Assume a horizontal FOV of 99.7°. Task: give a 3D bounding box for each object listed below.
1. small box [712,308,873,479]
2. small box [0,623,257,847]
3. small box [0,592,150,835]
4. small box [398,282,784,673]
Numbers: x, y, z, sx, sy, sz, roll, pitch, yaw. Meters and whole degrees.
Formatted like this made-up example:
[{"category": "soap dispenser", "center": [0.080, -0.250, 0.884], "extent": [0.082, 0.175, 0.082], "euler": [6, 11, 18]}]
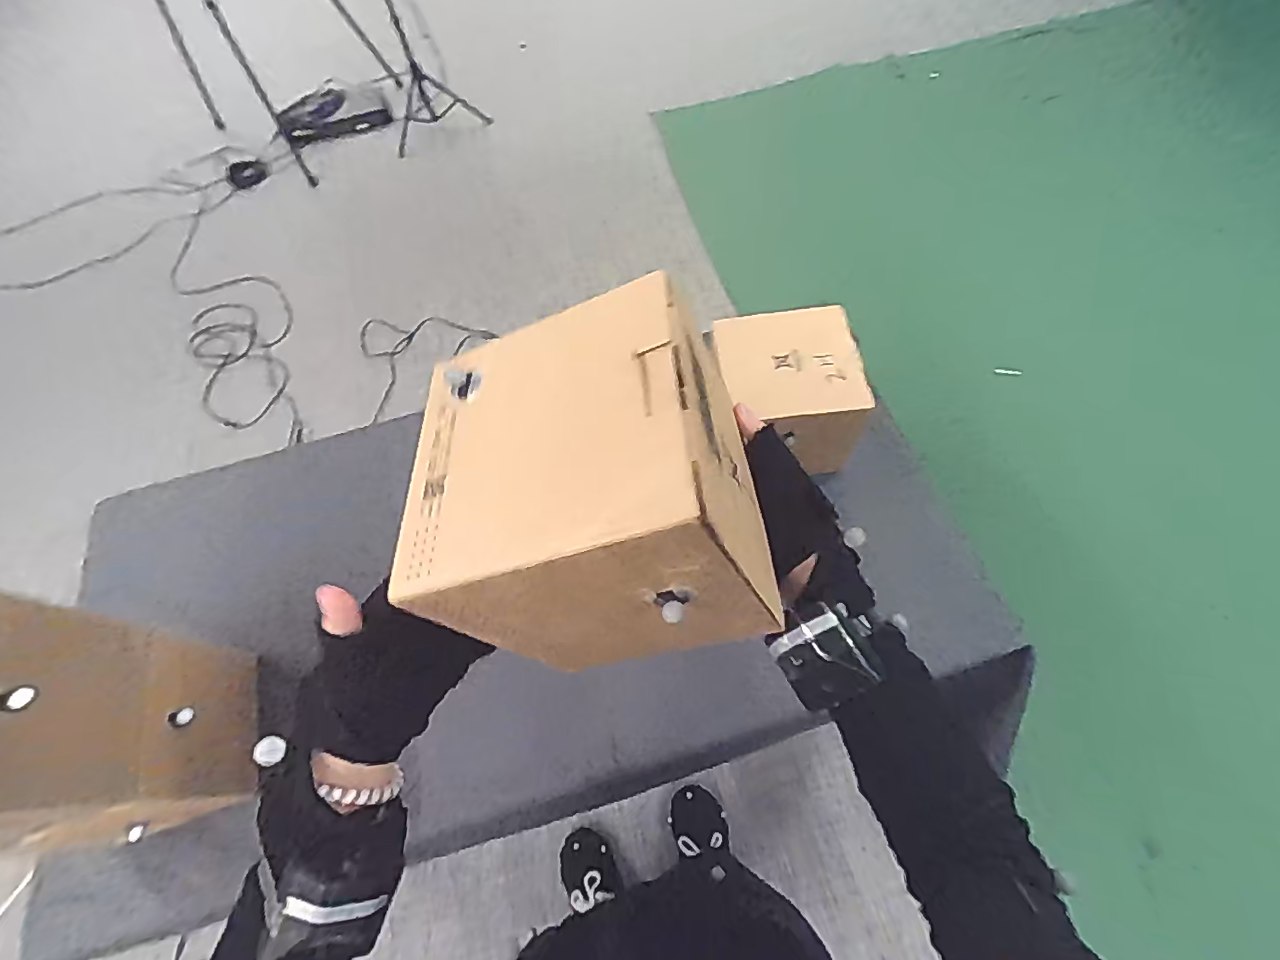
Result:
[{"category": "small box", "center": [0.195, -0.110, 0.751], "extent": [0.179, 0.176, 0.168], "euler": [-5, 64, 2]}, {"category": "small box", "center": [-0.569, 0.287, 0.611], "extent": [0.168, 0.176, 0.179], "euler": [-18, 63, -5]}, {"category": "small box", "center": [-0.581, 0.212, 0.466], "extent": [0.168, 0.176, 0.179], "euler": [-16, 63, -5]}, {"category": "small box", "center": [-0.025, 0.016, 0.354], "extent": [0.176, 0.179, 0.168], "euler": [-19, 54, 19]}]
